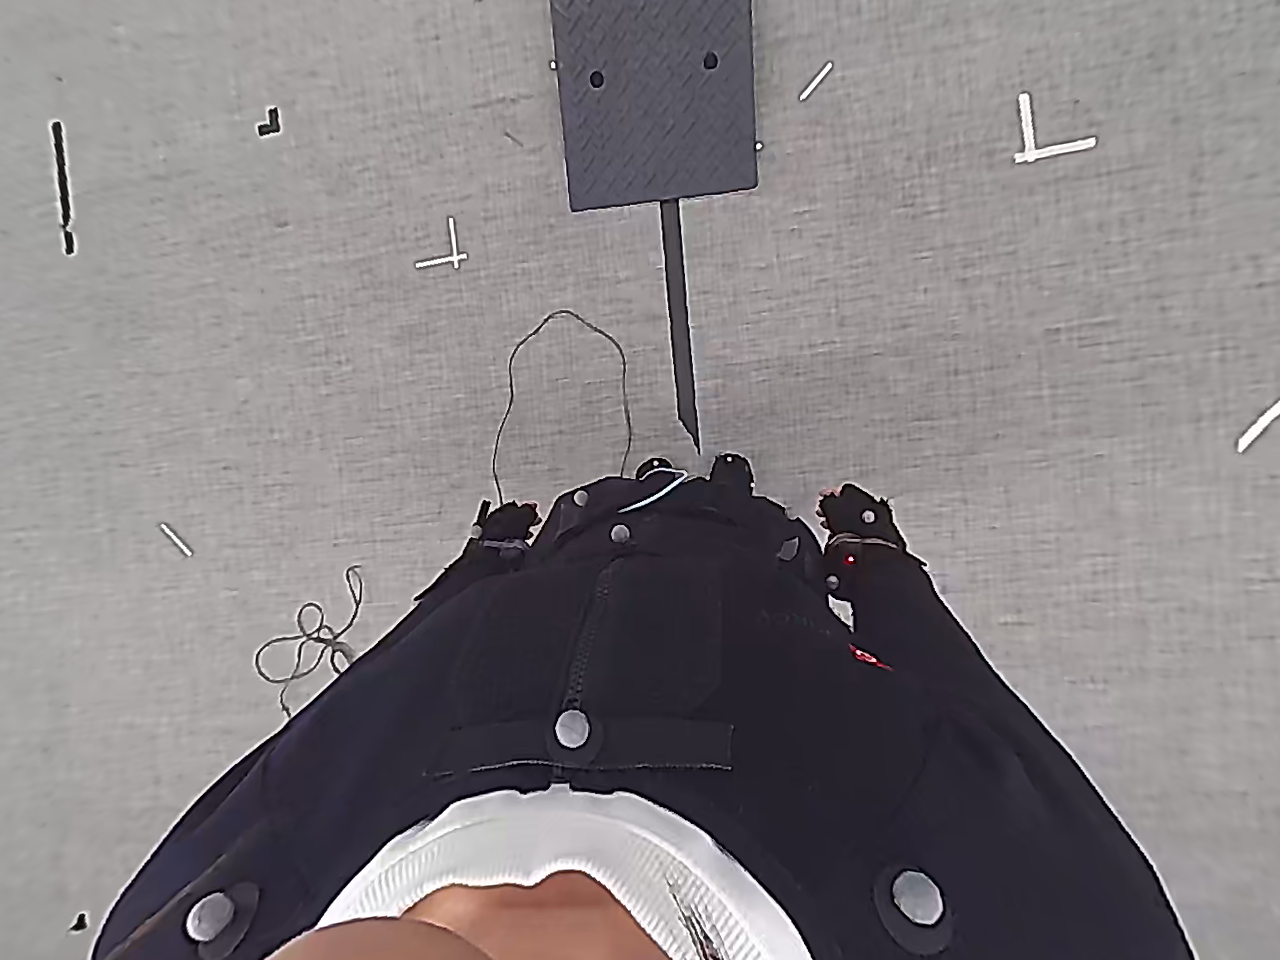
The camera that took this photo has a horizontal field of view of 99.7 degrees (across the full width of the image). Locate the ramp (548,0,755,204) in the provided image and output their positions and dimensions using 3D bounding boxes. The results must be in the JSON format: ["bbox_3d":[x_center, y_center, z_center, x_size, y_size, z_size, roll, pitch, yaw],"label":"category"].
[{"bbox_3d":[0.012,-1.229,1.292,0.509,0.206,0.991,-5,93,7],"label":"ramp"}]
